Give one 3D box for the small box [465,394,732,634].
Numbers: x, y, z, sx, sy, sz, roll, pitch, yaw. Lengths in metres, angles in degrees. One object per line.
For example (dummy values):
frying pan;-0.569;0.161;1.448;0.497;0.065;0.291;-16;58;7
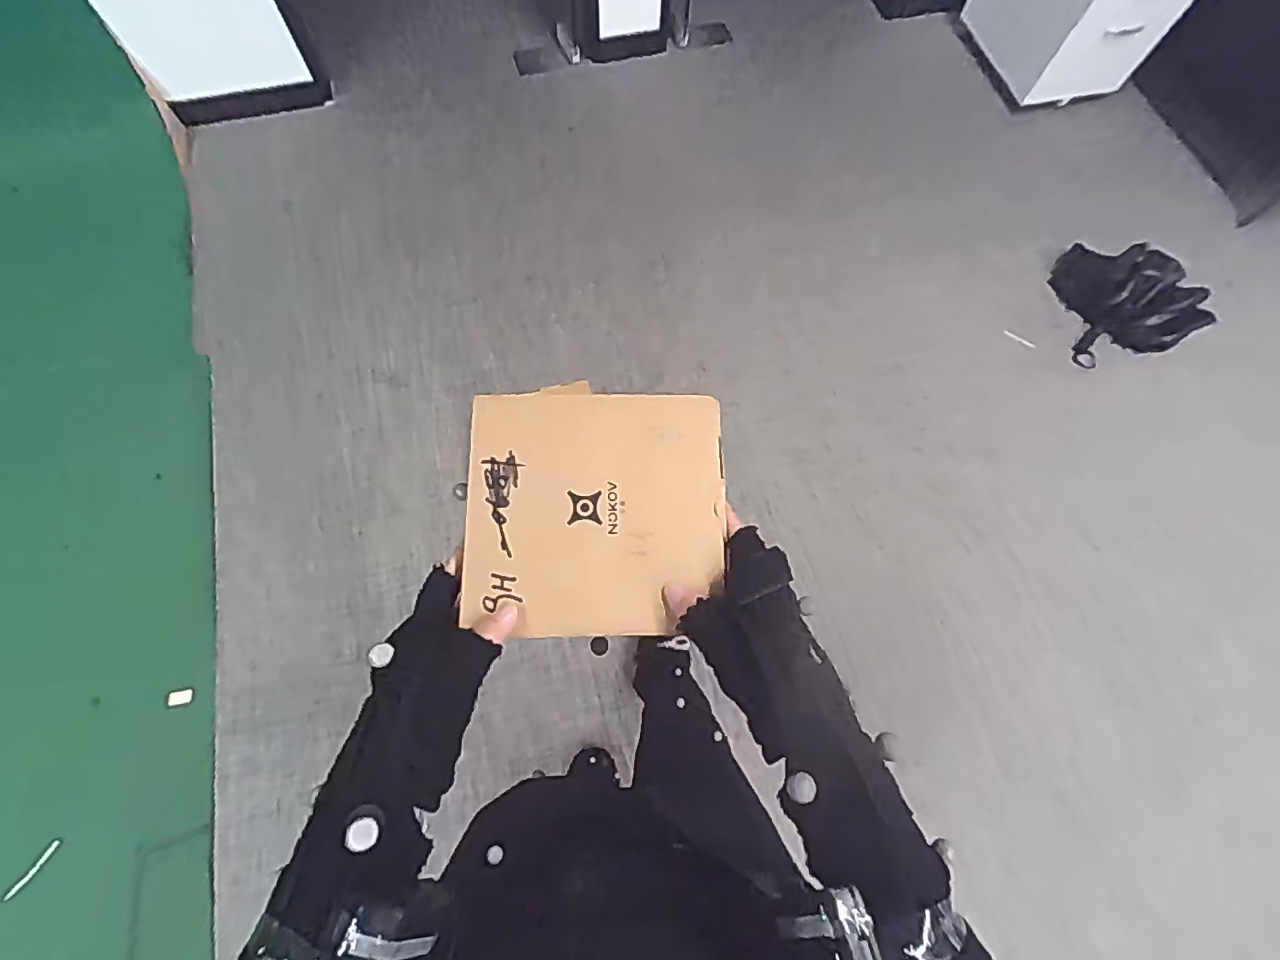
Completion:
small box;-0.033;0.040;0.448;0.179;0.176;0.168;0;74;-5
